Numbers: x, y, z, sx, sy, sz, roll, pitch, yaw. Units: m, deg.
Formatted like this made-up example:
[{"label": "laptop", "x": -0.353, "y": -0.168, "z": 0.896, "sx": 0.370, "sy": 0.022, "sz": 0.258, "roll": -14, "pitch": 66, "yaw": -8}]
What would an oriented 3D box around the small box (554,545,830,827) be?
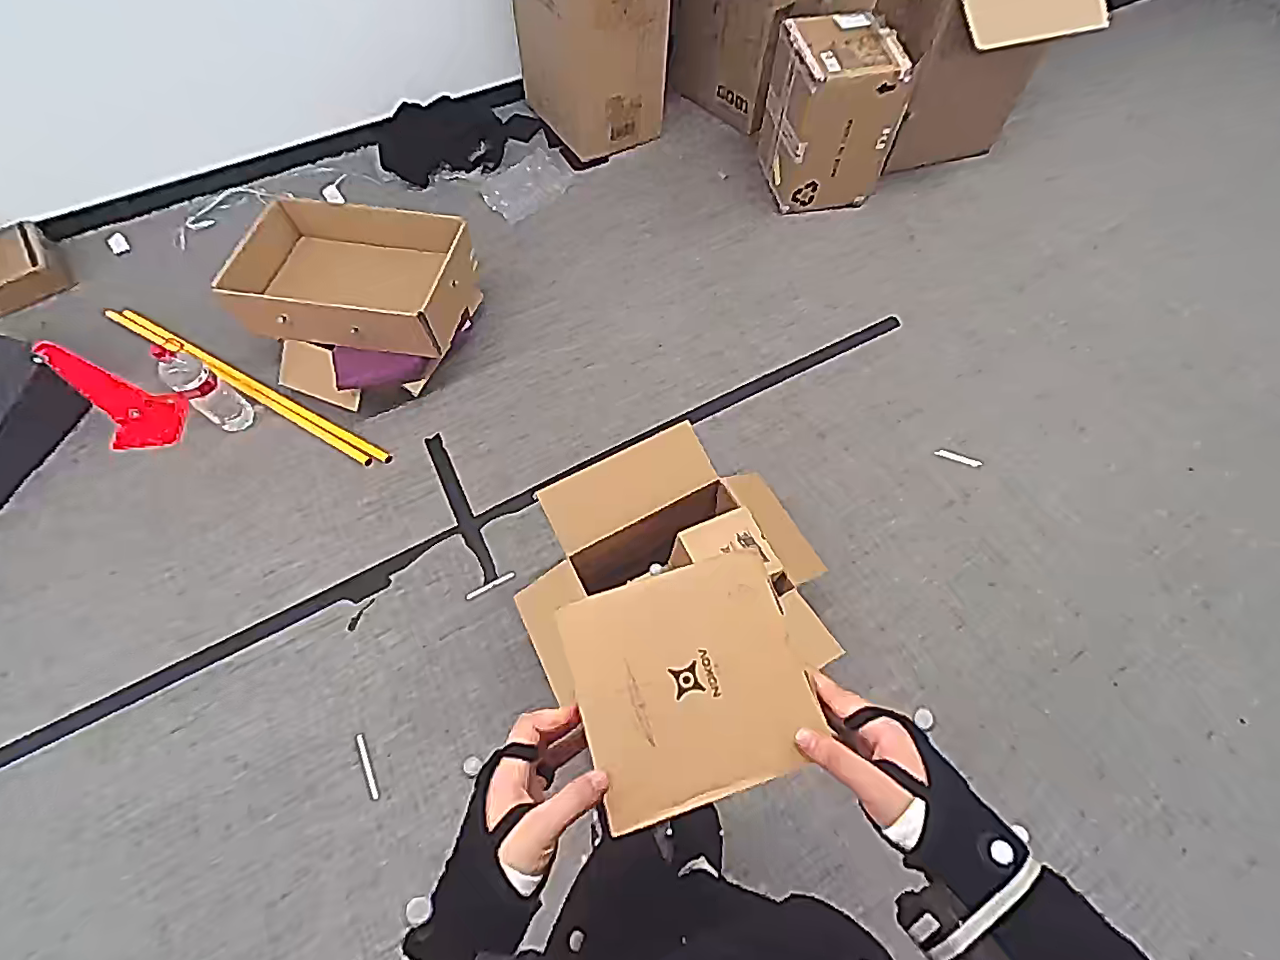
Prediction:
[{"label": "small box", "x": 0.035, "y": 0.176, "z": 0.491, "sx": 0.179, "sy": 0.176, "sz": 0.168, "roll": -17, "pitch": 70, "yaw": -6}]
